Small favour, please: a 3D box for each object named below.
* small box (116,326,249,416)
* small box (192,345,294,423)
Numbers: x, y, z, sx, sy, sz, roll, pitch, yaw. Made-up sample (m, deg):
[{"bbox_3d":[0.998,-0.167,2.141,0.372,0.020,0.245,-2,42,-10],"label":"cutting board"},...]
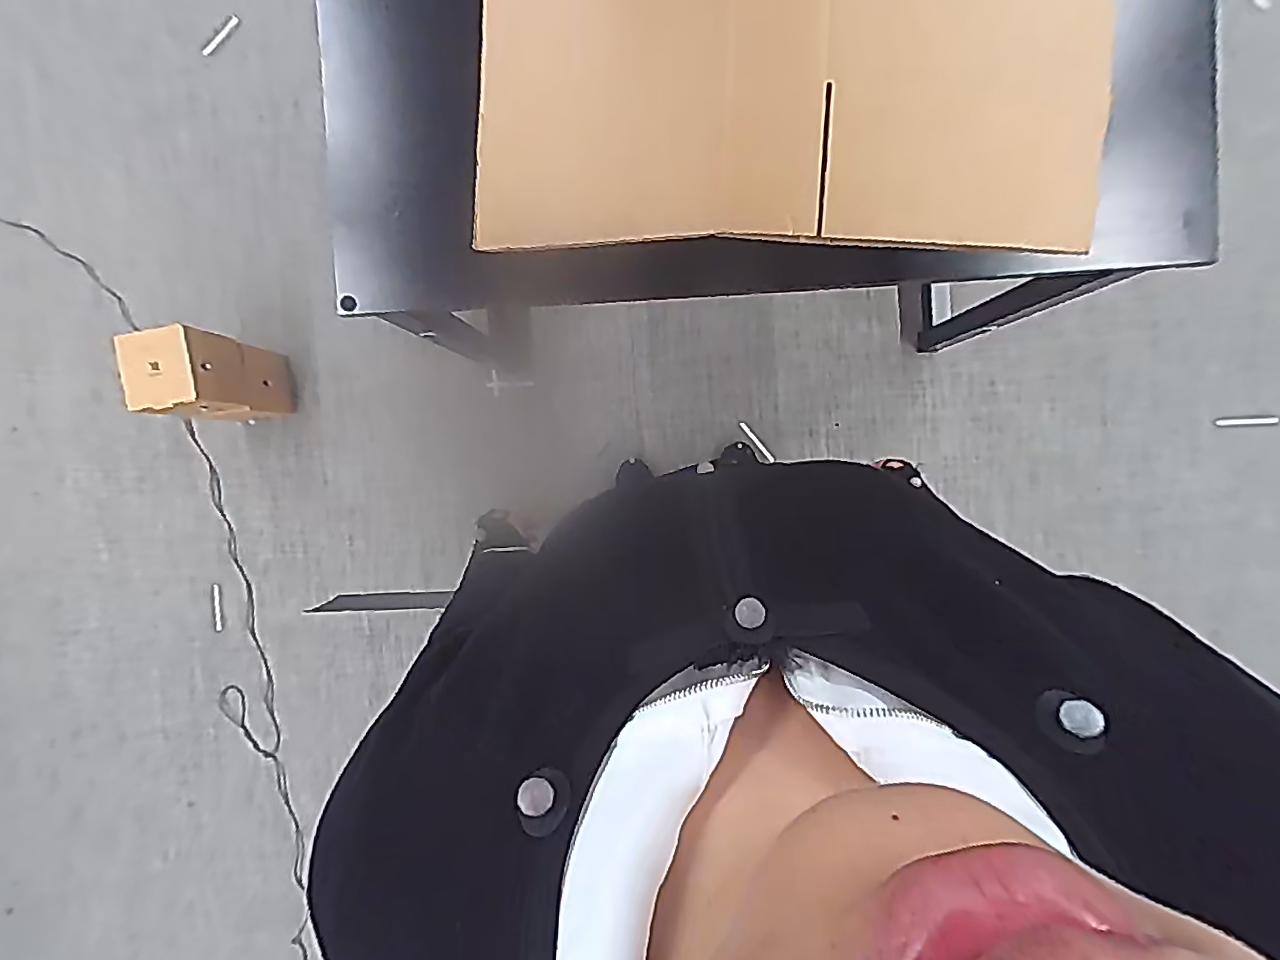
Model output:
[{"bbox_3d":[-1.083,-0.252,1.296,0.168,0.176,0.179,-10,91,2],"label":"small box"},{"bbox_3d":[-1.073,-0.254,1.458,0.168,0.176,0.179,-7,93,3],"label":"small box"}]
